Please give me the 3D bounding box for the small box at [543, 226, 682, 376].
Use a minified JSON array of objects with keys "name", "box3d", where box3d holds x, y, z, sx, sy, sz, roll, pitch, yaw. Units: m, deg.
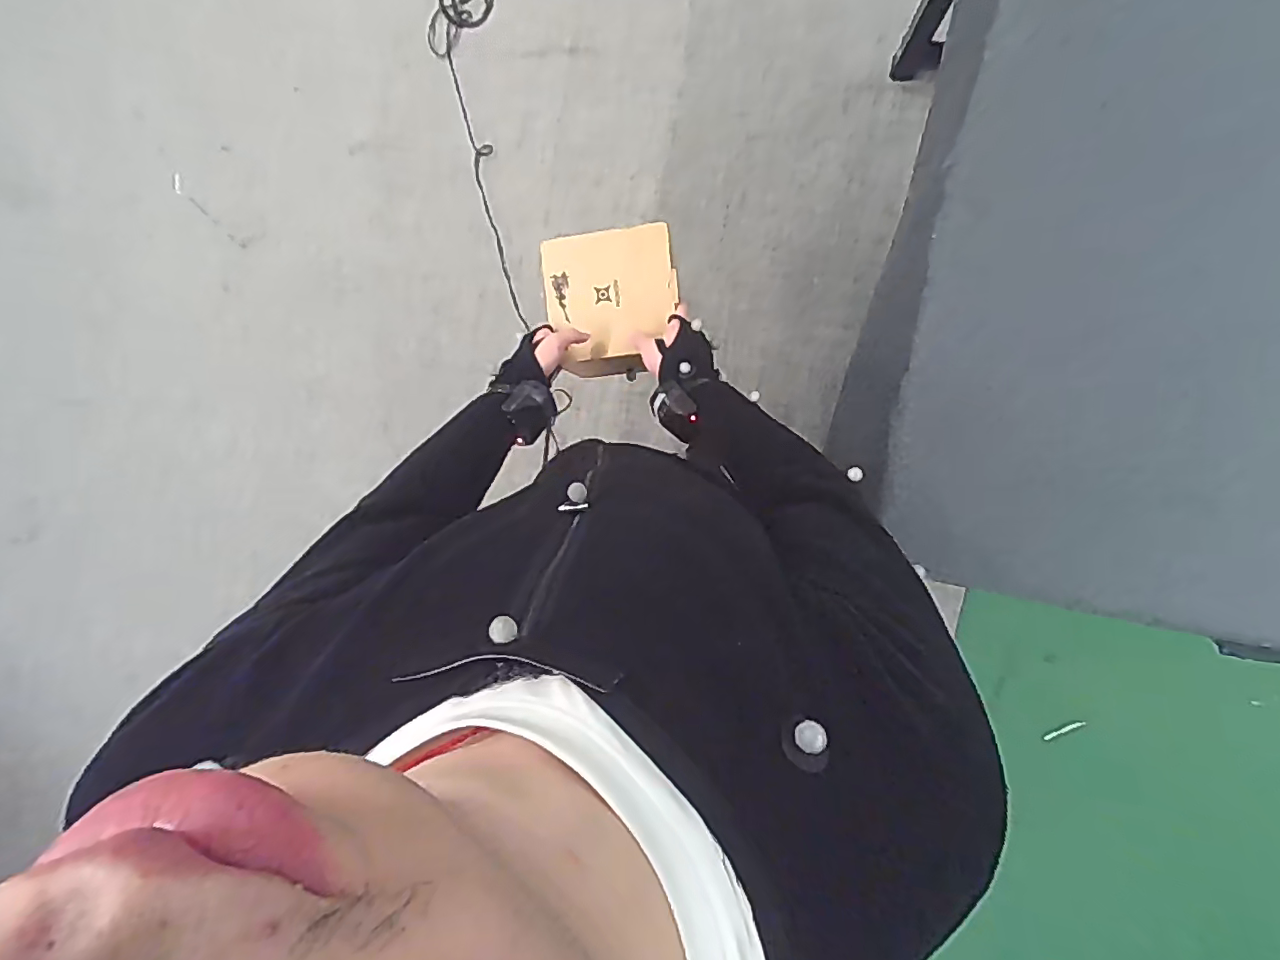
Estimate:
[{"name":"small box","box3d":[-0.030,-0.251,0.796,0.179,0.176,0.168,-5,94,7]}]
